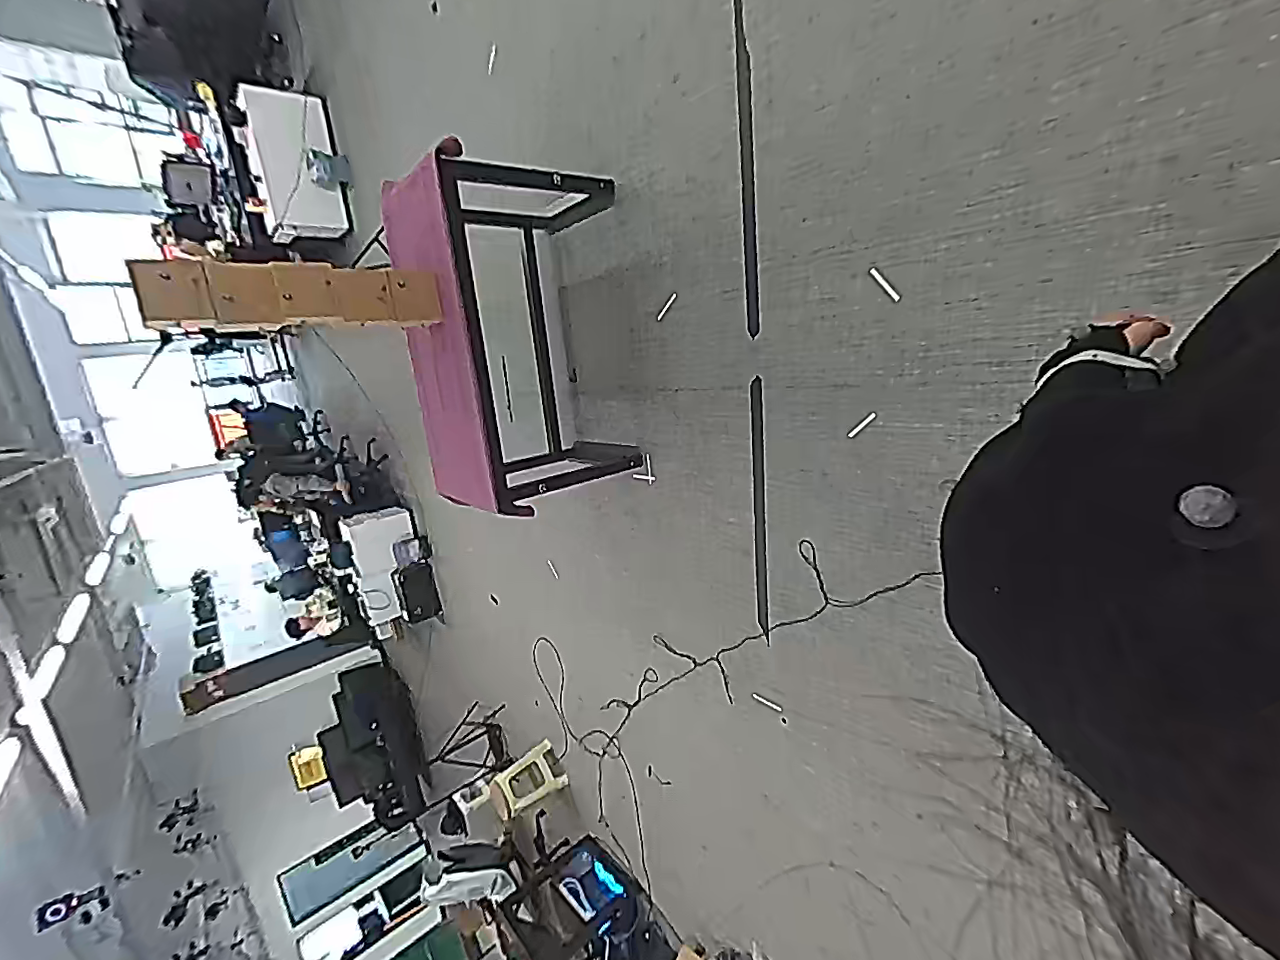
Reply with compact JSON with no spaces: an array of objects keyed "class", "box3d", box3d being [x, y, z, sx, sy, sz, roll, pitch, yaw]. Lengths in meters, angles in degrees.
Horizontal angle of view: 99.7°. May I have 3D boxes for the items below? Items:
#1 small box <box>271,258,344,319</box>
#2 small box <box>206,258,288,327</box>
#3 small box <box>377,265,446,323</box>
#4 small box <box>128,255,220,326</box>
[{"class":"small box","box3d":[-1.072,-0.611,1.742,0.179,0.176,0.168,9,110,50]},{"class":"small box","box3d":[-1.203,-0.569,1.653,0.168,0.176,0.179,8,109,50]},{"class":"small box","box3d":[-0.820,-0.666,1.944,0.168,0.176,0.179,9,111,50]},{"class":"small box","box3d":[-1.330,-0.542,1.556,0.179,0.176,0.168,6,106,51]}]
